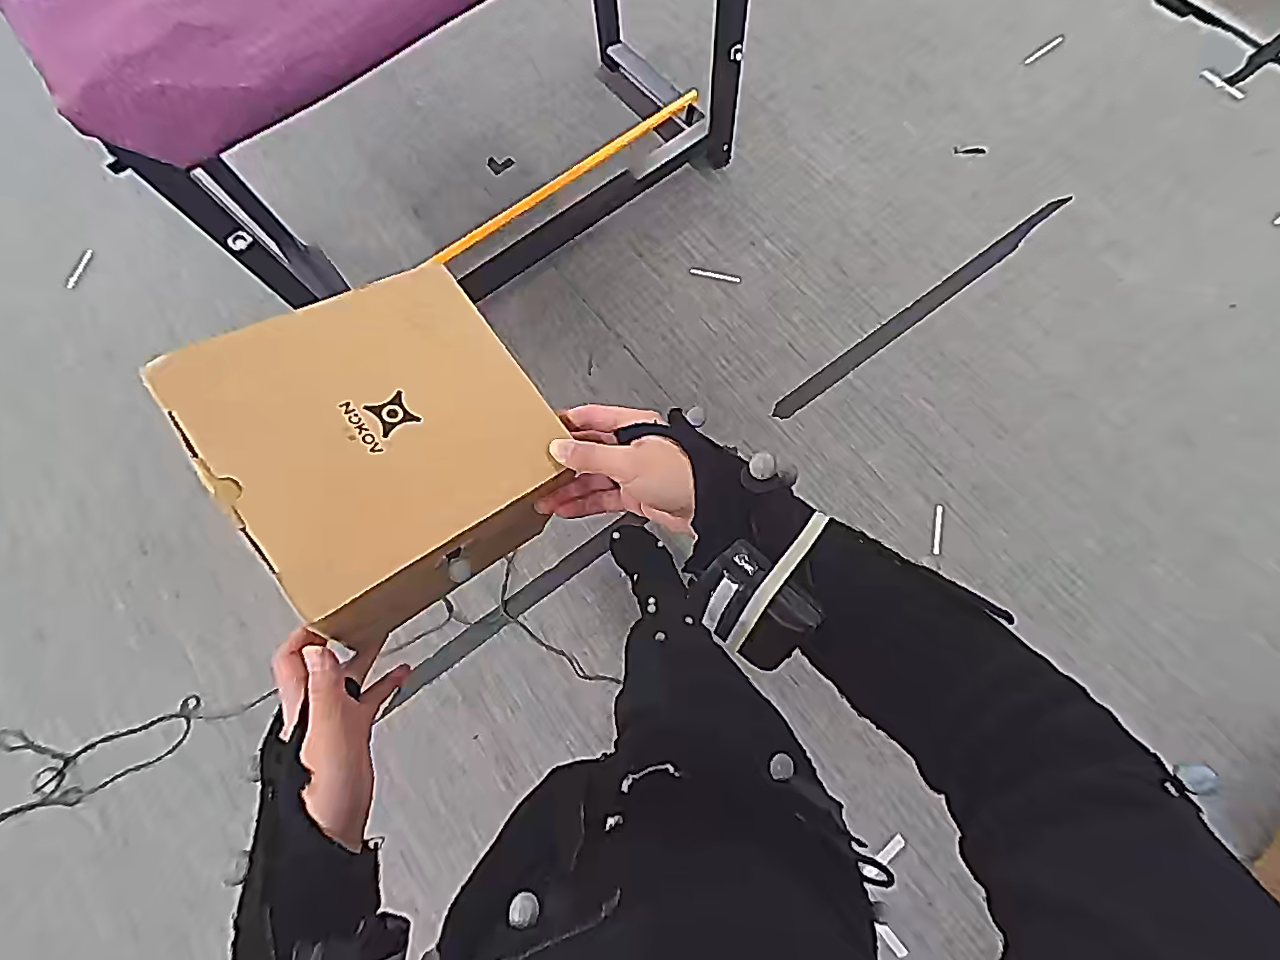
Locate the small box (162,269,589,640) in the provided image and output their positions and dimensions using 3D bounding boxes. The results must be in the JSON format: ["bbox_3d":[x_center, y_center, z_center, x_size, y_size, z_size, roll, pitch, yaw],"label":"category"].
[{"bbox_3d":[-0.167,-0.008,0.384,0.179,0.176,0.168,-34,83,-27],"label":"small box"}]
